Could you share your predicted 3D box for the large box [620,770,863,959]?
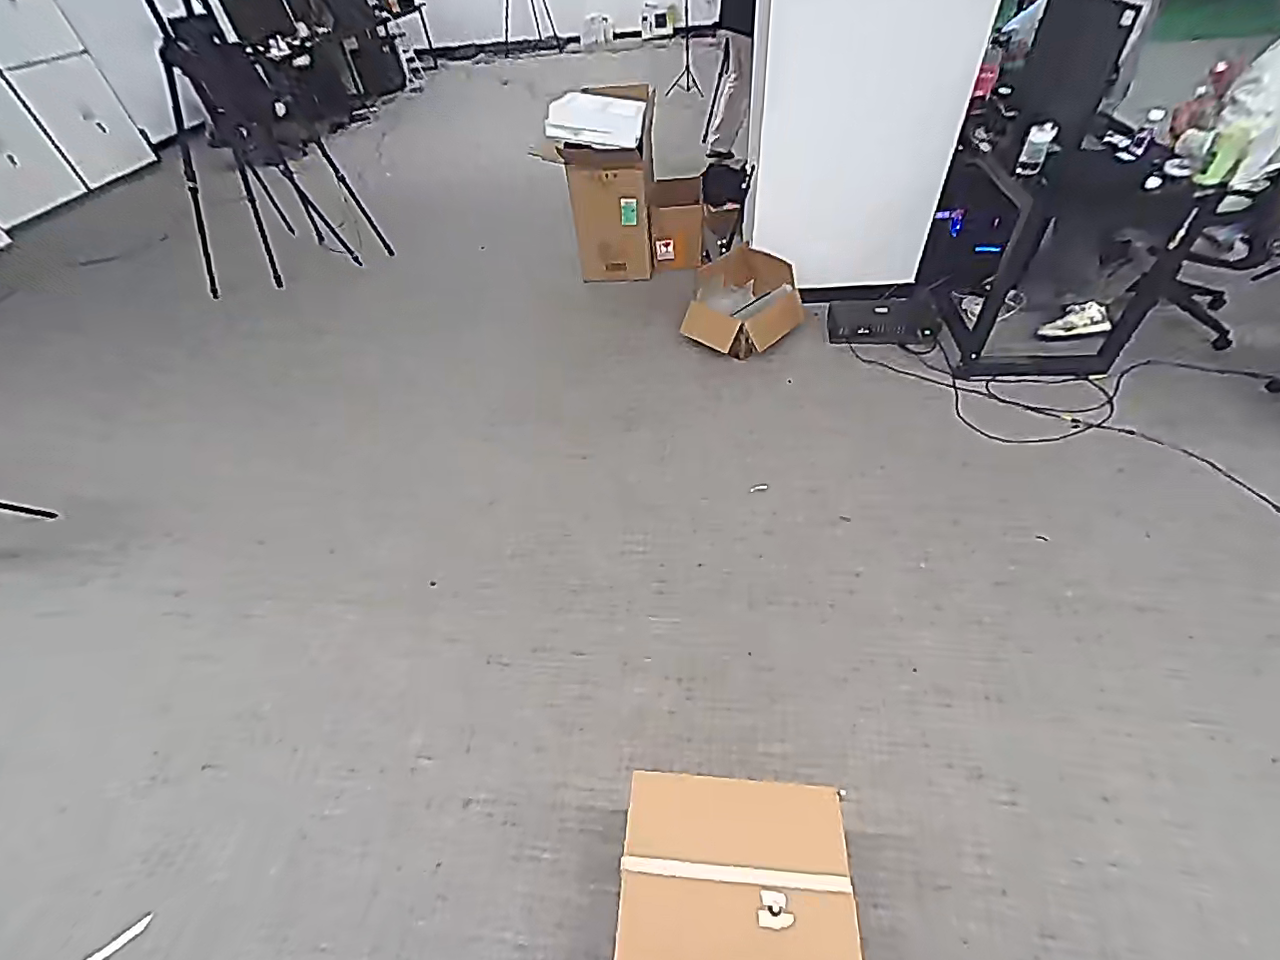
[{"bbox_3d":[0.181,0.802,1.074,0.408,0.320,0.320,1,47,6],"label":"large box"}]
